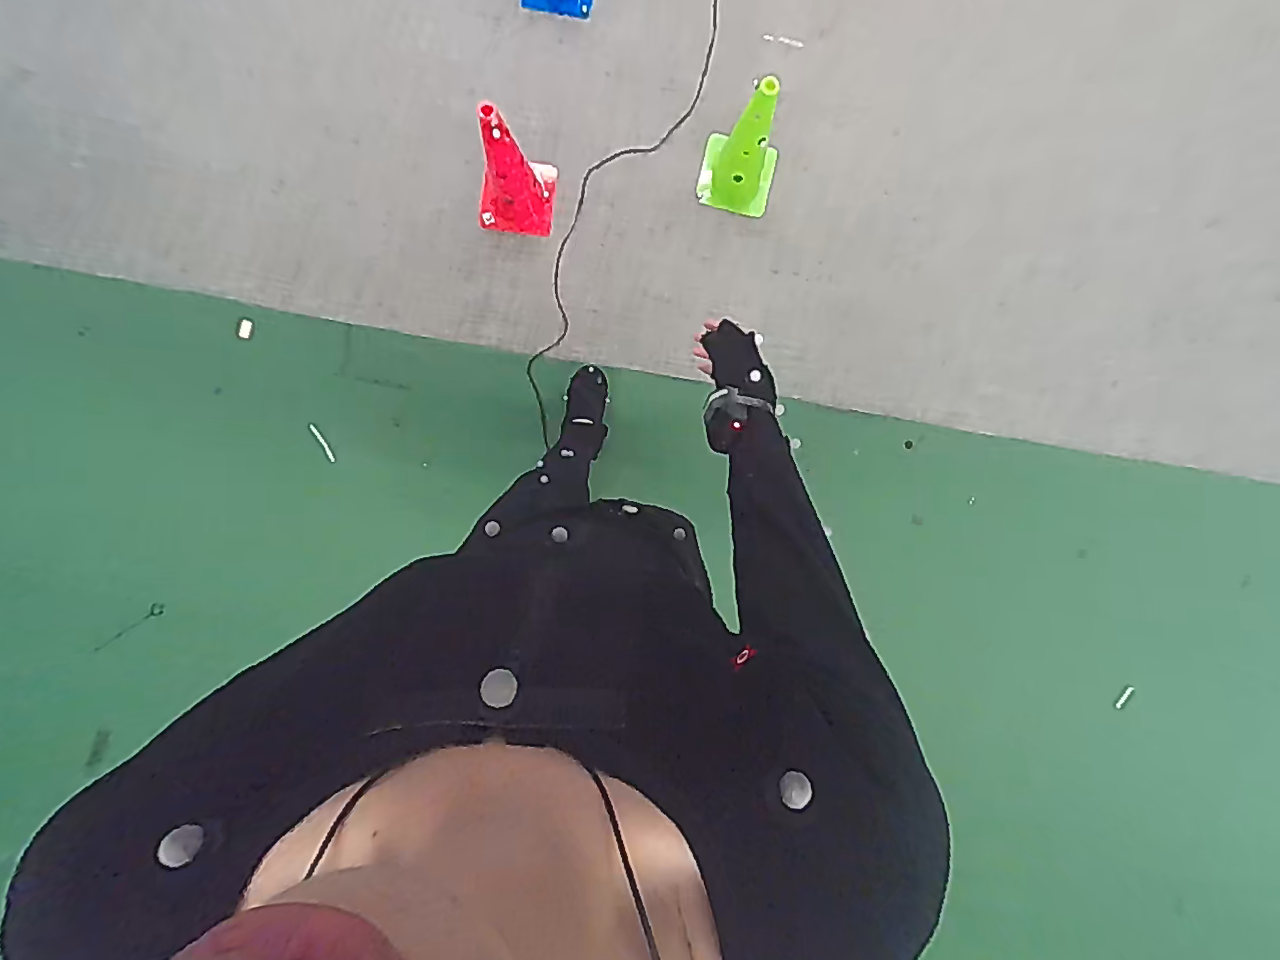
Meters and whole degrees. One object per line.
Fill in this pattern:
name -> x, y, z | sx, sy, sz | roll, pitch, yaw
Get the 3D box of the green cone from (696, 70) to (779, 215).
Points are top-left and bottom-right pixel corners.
green cone -> 0.276, -0.855, 1.340 | 0.200, 0.368, 0.202 | 12, 89, -2
